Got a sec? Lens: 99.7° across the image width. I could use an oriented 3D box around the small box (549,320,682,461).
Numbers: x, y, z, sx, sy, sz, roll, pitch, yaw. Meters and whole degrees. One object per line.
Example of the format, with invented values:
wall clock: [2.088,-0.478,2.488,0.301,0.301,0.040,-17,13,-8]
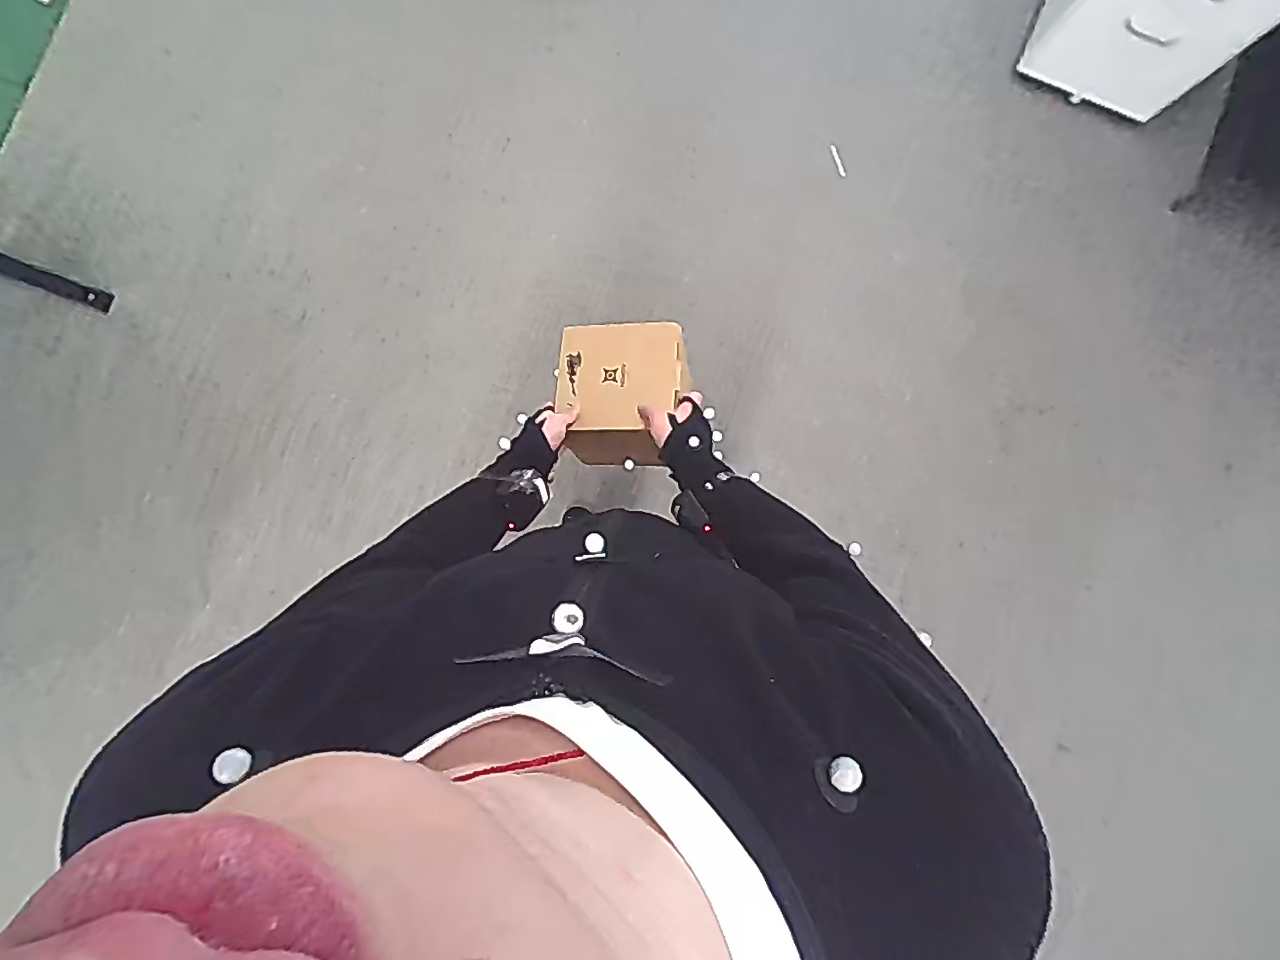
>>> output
small box: [-0.027,-0.132,0.843,0.179,0.176,0.168,1,75,9]
